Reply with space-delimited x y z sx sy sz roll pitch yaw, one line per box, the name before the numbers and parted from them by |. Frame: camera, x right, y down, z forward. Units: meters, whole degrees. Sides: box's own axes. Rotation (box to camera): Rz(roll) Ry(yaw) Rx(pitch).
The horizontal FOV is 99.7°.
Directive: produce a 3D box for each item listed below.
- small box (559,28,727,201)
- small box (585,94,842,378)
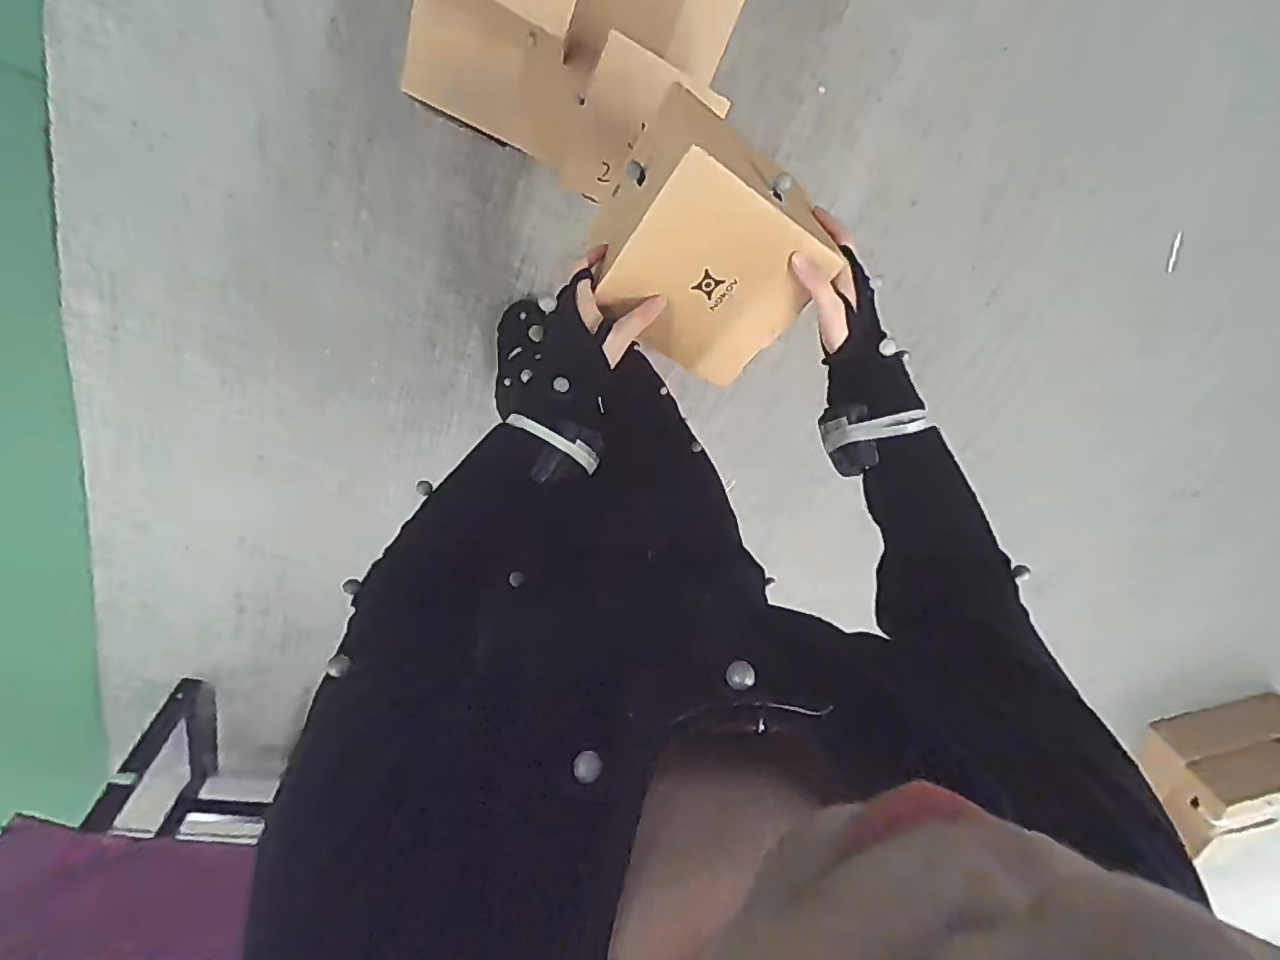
small box | -0.010 -0.468 0.749 0.168 0.176 0.179 18 117 -19
small box | 0.057 -0.240 0.534 0.179 0.176 0.168 19 134 -28
